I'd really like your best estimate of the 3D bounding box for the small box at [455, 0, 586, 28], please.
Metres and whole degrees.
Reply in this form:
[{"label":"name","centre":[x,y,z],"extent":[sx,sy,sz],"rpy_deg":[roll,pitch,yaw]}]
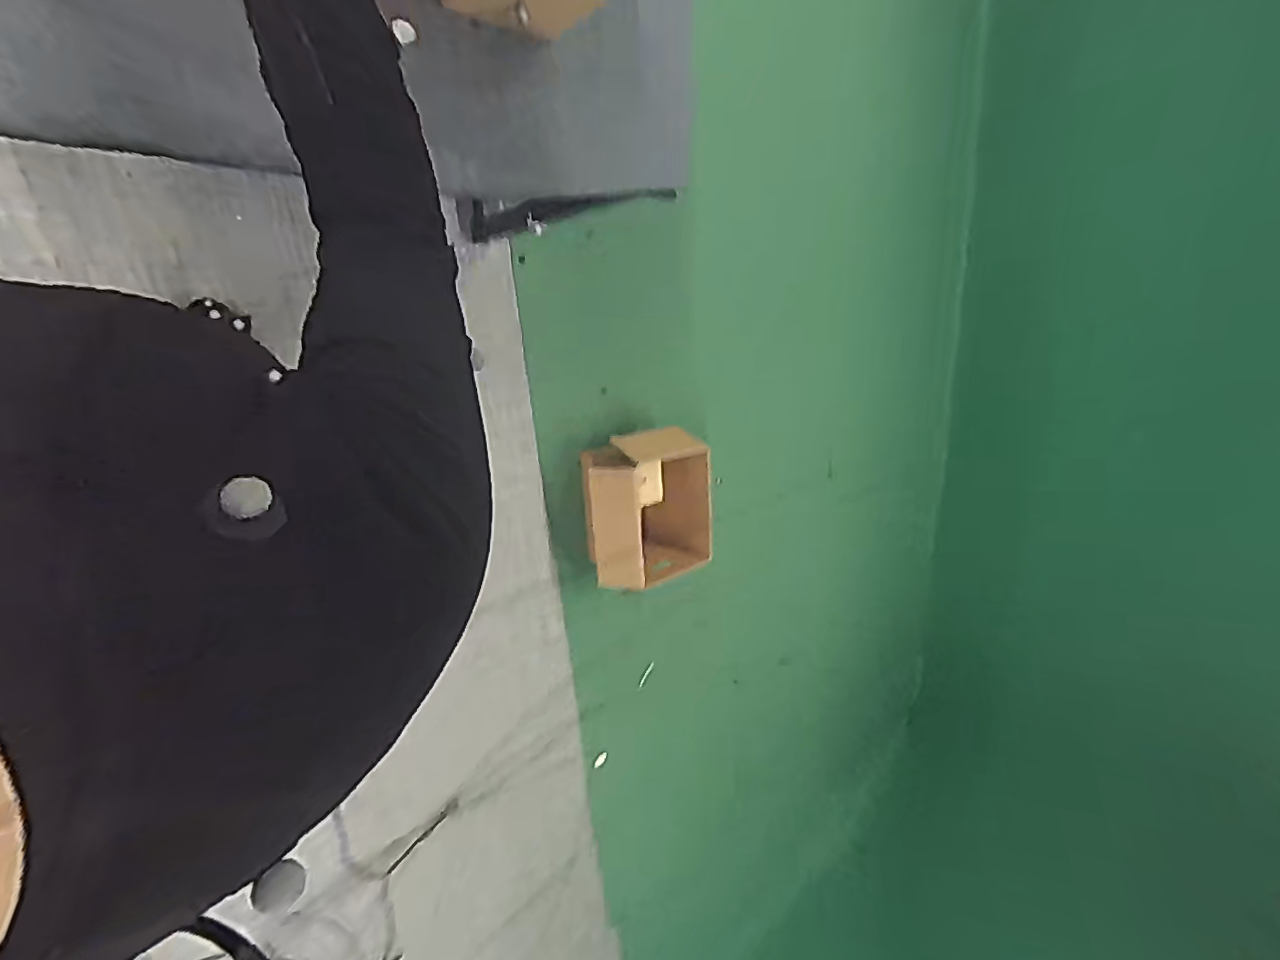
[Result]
[{"label":"small box","centre":[-0.138,-0.681,0.628],"extent":[0.168,0.176,0.179],"rpy_deg":[-17,112,-36]}]
